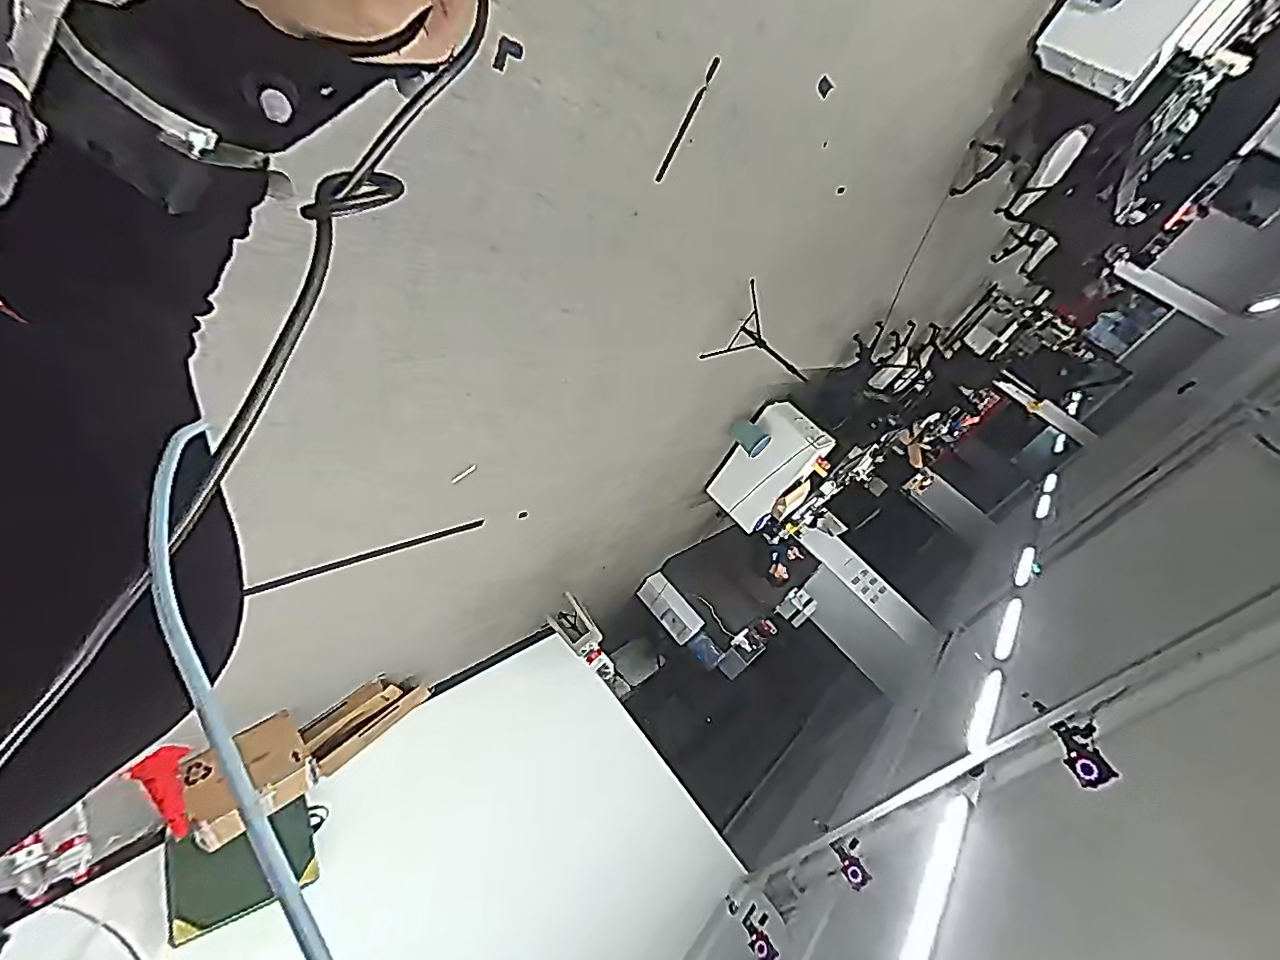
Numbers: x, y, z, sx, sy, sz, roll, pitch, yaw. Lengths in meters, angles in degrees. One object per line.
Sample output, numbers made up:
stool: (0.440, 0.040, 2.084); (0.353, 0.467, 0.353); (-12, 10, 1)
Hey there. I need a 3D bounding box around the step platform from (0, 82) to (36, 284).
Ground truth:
step platform: (-1.188, -0.443, 0.606); (0.684, 0.204, 0.286); (-9, 140, -54)
